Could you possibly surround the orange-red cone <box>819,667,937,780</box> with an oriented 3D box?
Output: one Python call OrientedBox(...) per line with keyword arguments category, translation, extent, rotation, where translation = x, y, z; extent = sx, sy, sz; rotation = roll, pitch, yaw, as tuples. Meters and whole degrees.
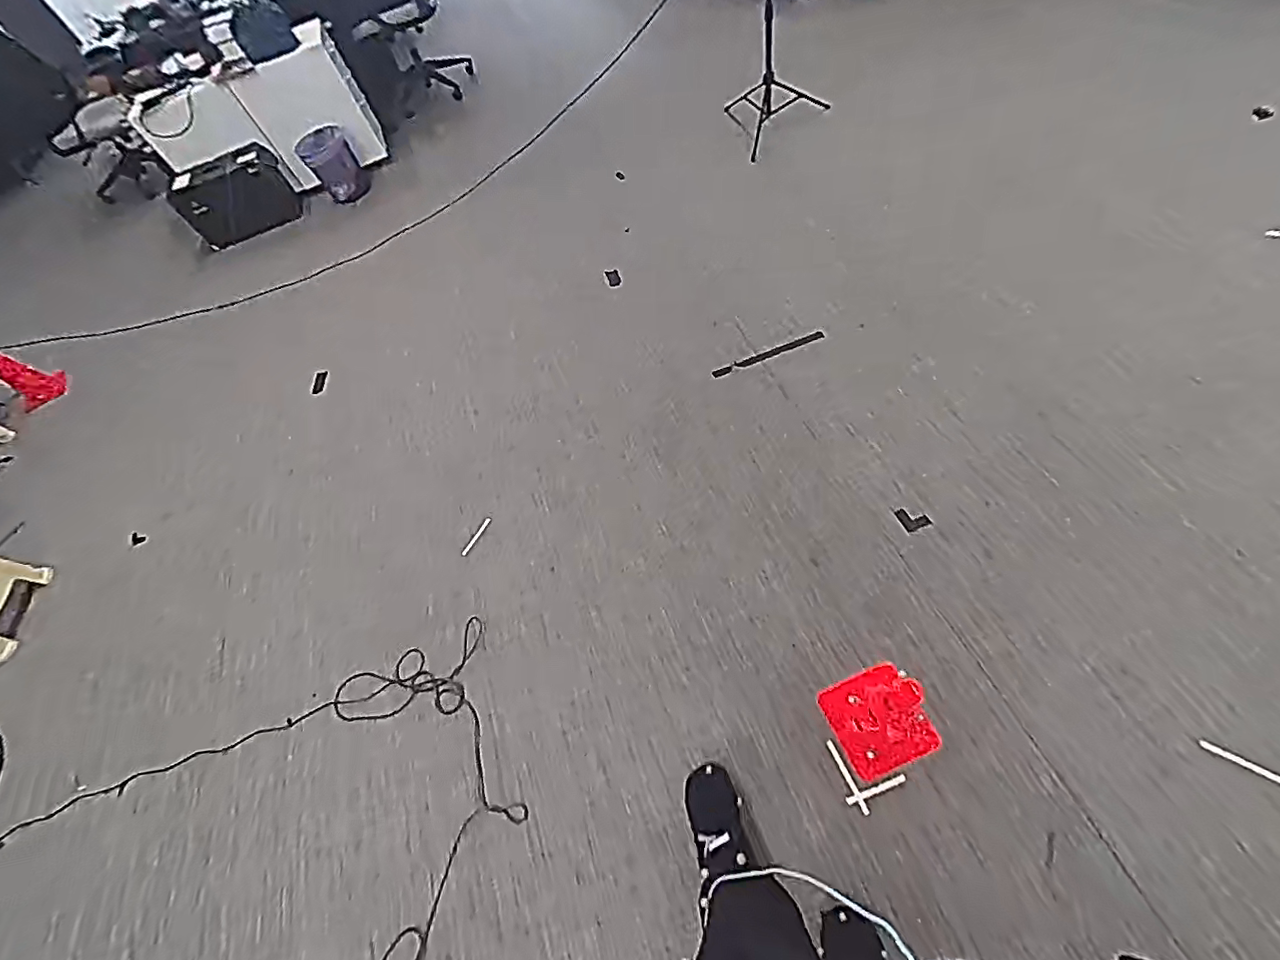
OrientedBox(category="orange-red cone", translation=(0.500, 0.454, 1.073), extent=(0.199, 0.360, 0.198), rotation=(-22, 57, -2))
